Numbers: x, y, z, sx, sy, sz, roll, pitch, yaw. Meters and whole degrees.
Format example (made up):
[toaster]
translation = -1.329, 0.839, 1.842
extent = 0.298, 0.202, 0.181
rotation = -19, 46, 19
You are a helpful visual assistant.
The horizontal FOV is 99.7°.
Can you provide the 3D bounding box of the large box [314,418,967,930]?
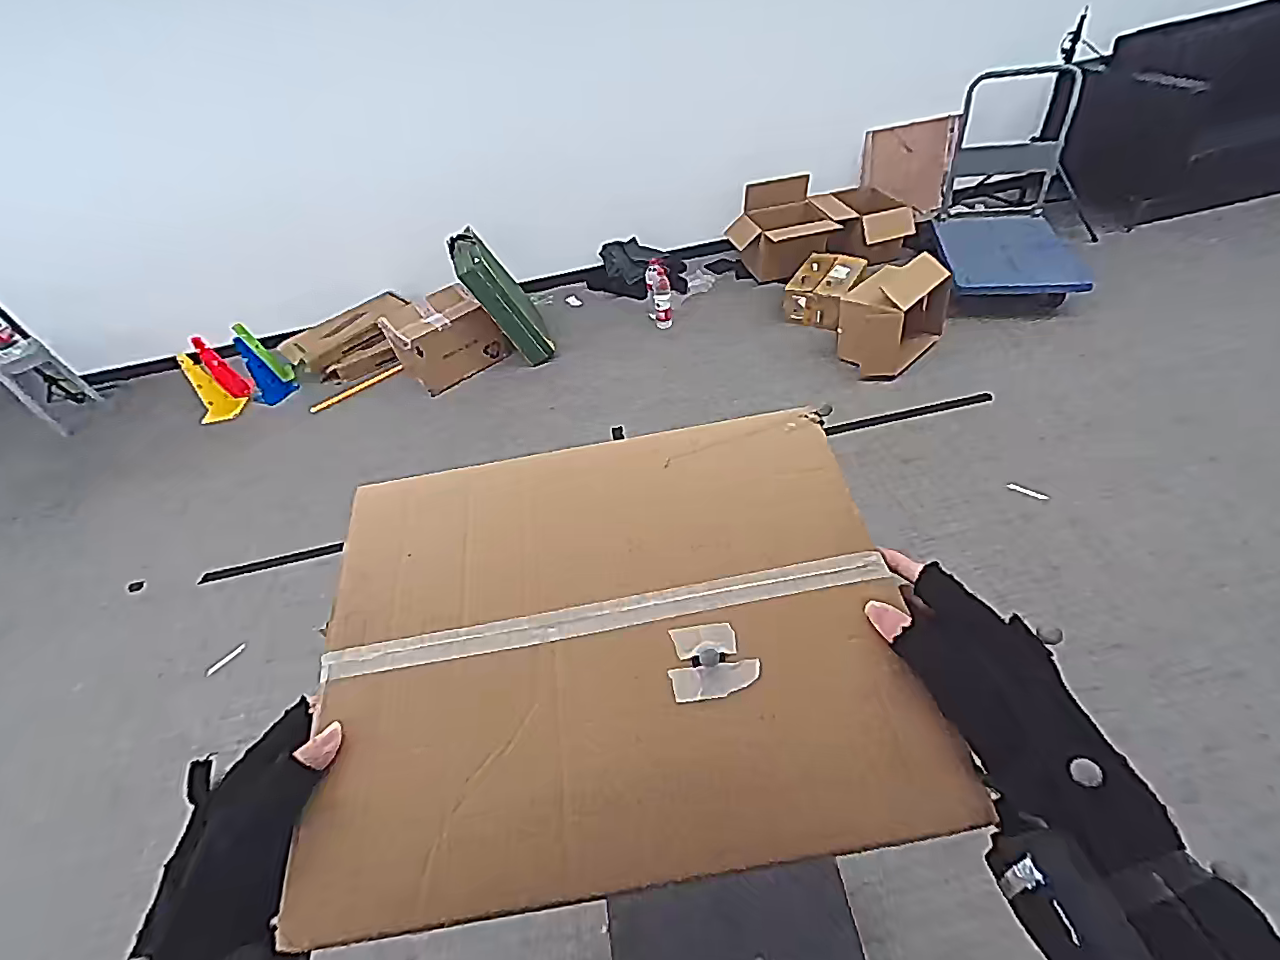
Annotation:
[large box]
translation = -0.008, 0.187, 0.524
extent = 0.408, 0.320, 0.320
rotation = -10, 56, 0
